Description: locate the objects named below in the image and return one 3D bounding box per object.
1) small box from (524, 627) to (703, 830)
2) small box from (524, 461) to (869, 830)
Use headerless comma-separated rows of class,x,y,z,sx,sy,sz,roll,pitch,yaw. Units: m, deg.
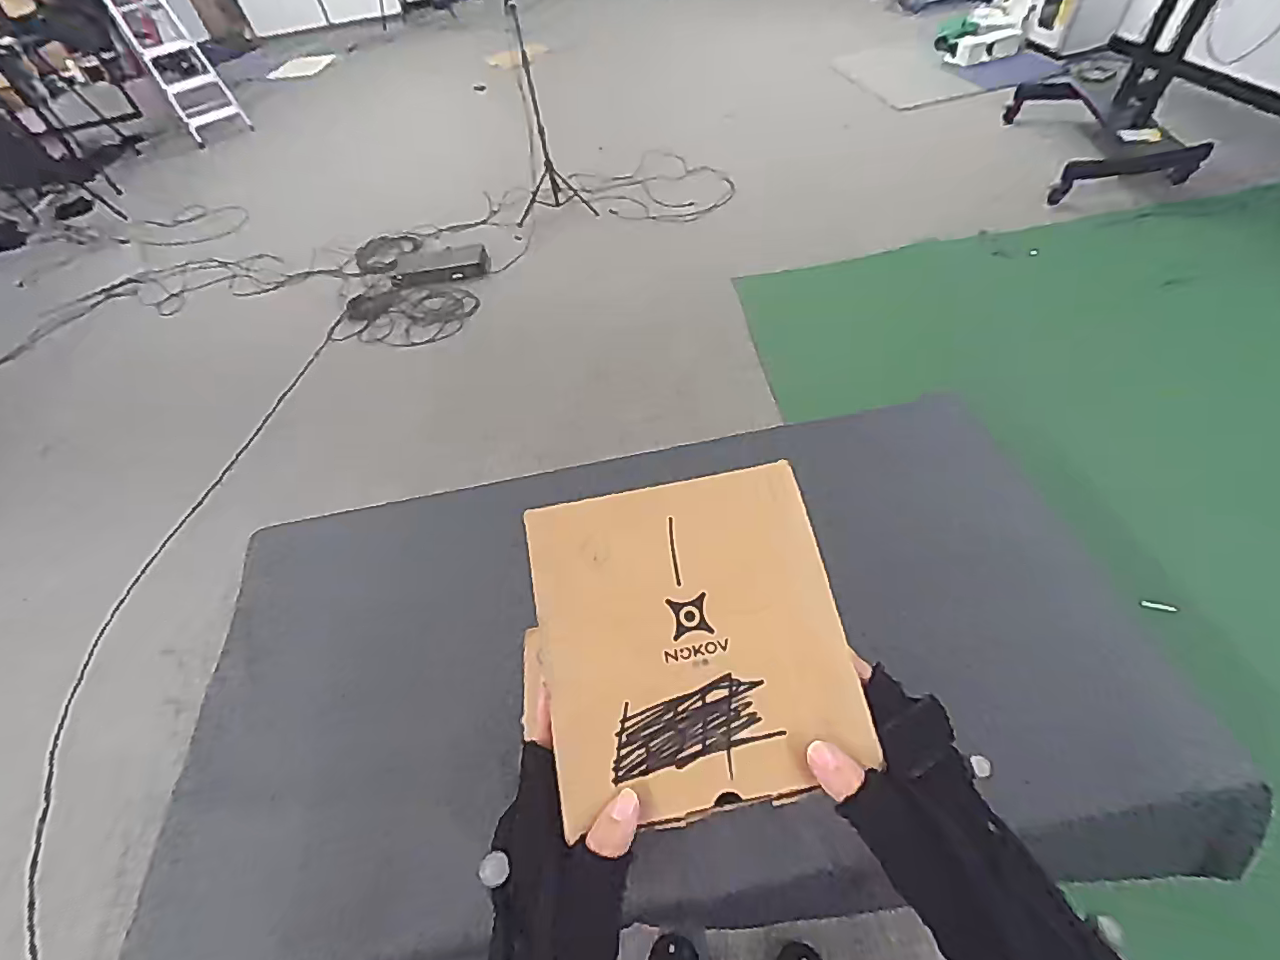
small box,-0.024,0.263,0.595,0.168,0.176,0.179,-11,52,1
small box,0.026,0.108,0.375,0.168,0.176,0.179,-10,69,-3
